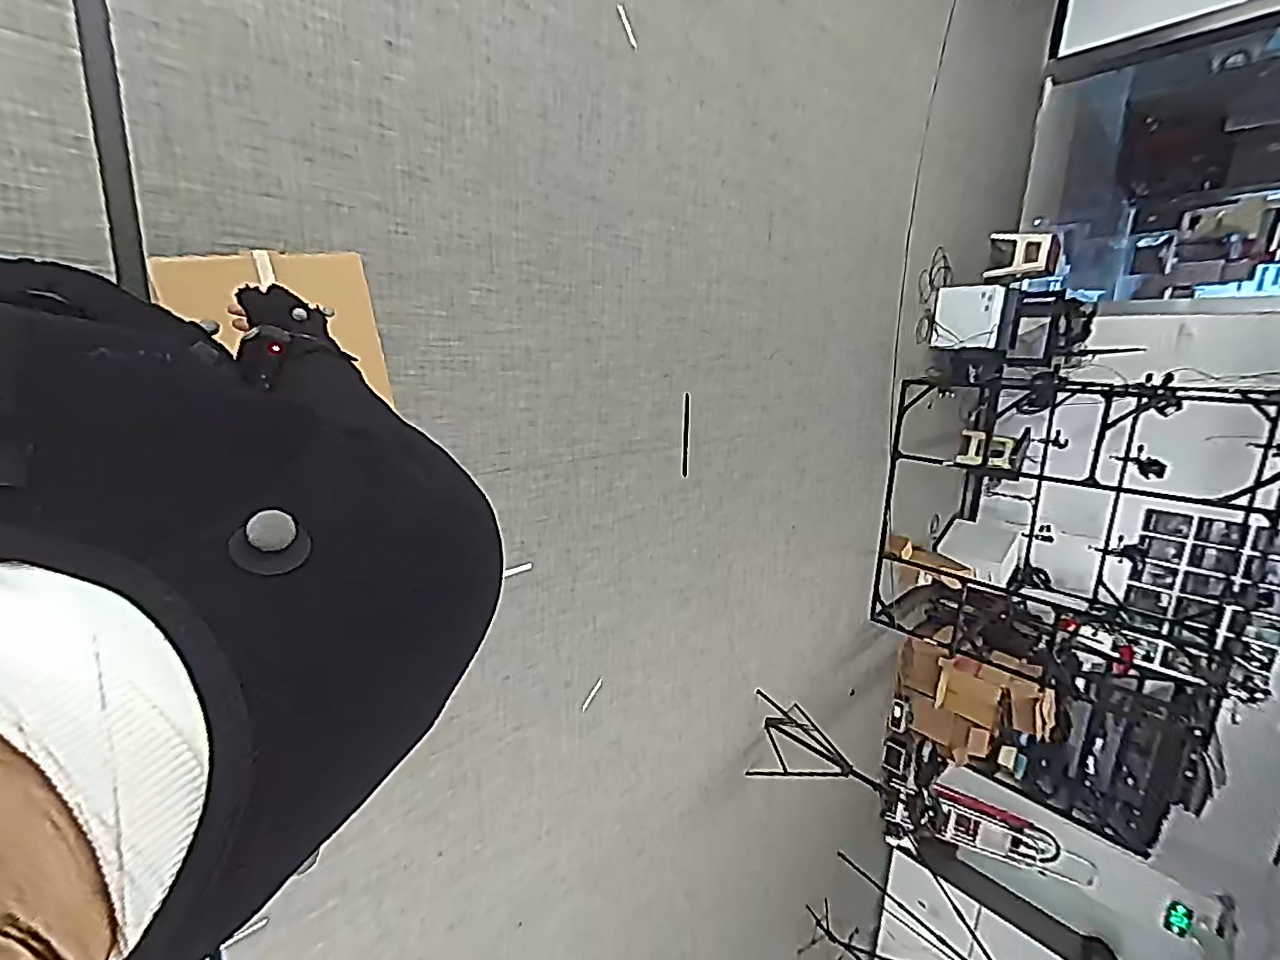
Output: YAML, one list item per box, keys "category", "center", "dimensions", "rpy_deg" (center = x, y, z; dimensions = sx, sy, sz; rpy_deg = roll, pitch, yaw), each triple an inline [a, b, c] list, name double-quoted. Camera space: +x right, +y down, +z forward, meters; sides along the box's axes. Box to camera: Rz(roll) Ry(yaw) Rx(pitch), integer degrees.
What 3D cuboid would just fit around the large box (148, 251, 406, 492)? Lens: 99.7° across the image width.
- category: "large box"
  center: [-0.723, -0.236, 1.104]
  dimensions: [0.320, 0.320, 0.408]
  rpy_deg: [-18, 114, -33]
